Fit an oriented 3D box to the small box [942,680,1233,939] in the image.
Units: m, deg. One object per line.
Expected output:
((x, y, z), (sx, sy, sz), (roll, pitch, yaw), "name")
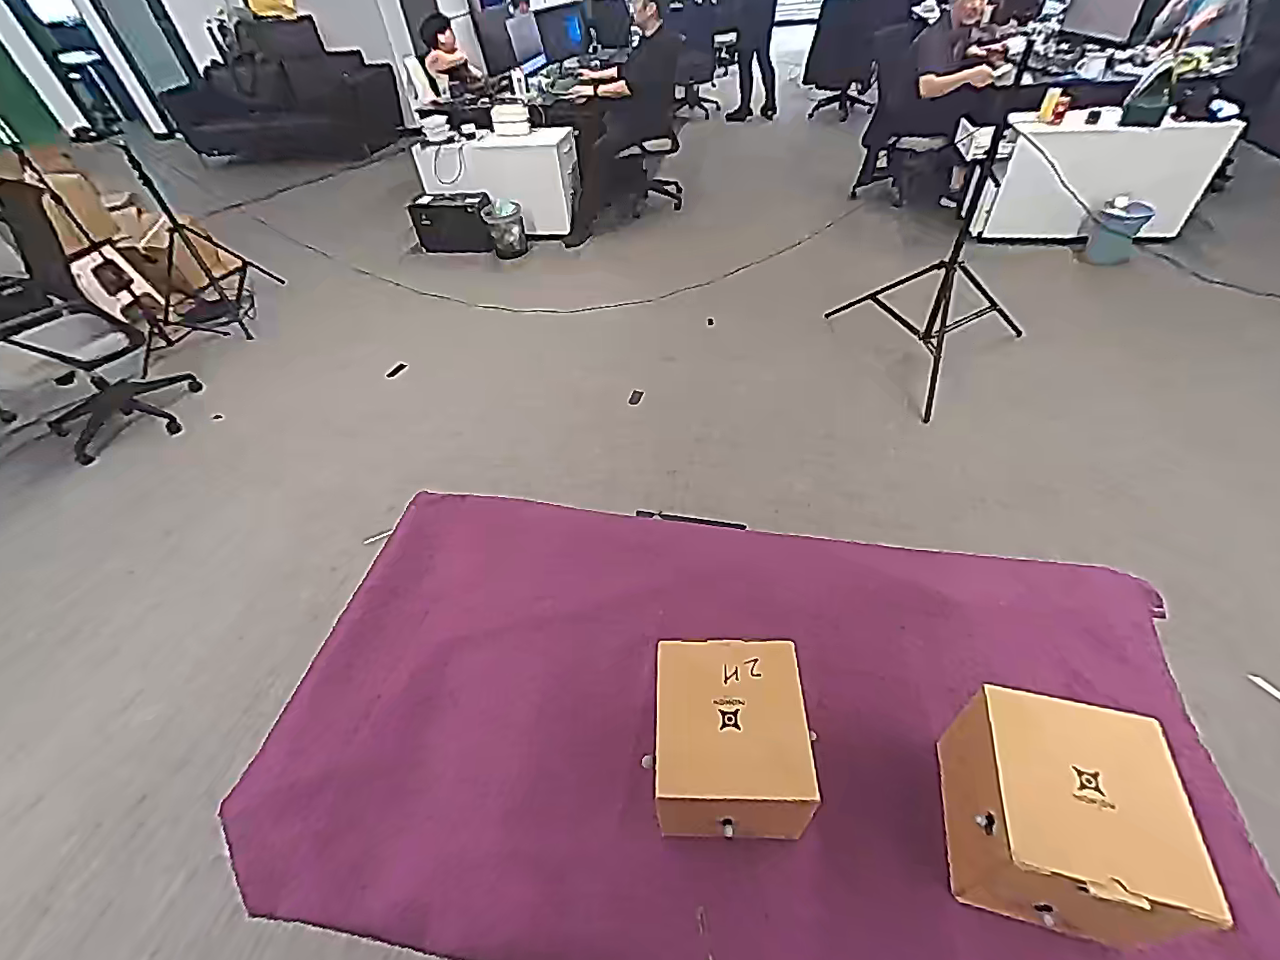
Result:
((0.443, 0.350, 0.580), (0.168, 0.176, 0.179), (8, 46, 14), "small box")

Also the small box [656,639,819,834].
((0.108, 0.312, 0.655), (0.168, 0.176, 0.179), (-1, 45, 4), "small box")
